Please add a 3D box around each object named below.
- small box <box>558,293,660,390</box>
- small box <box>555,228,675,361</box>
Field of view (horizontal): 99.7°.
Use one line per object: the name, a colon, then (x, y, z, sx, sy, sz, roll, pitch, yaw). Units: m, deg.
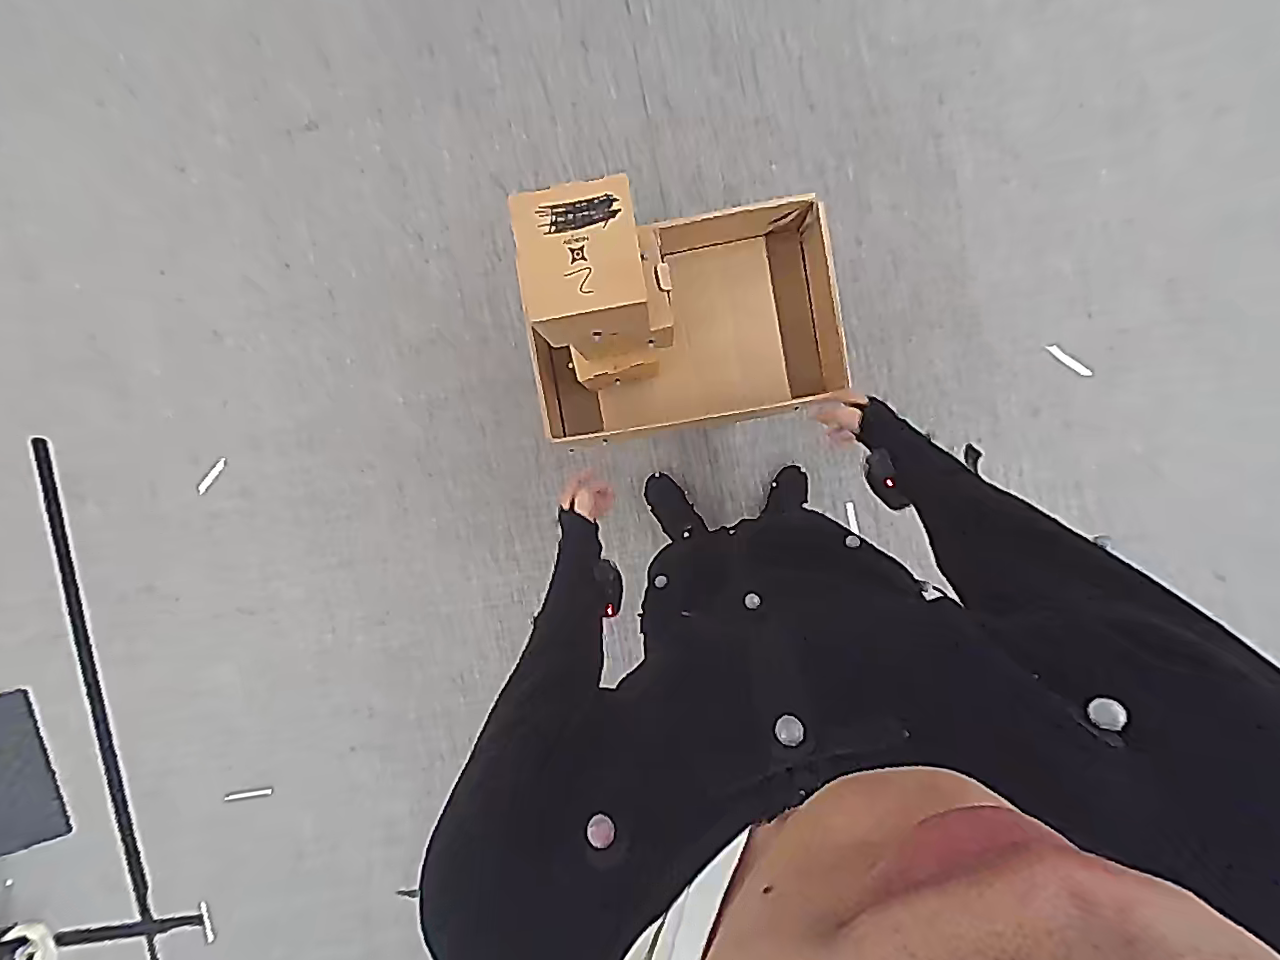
small box: (-0.059, -0.299, 1.126, 0.168, 0.176, 0.179, -14, 92, 3)
small box: (-0.039, -0.319, 0.961, 0.179, 0.176, 0.168, -10, 91, 3)
